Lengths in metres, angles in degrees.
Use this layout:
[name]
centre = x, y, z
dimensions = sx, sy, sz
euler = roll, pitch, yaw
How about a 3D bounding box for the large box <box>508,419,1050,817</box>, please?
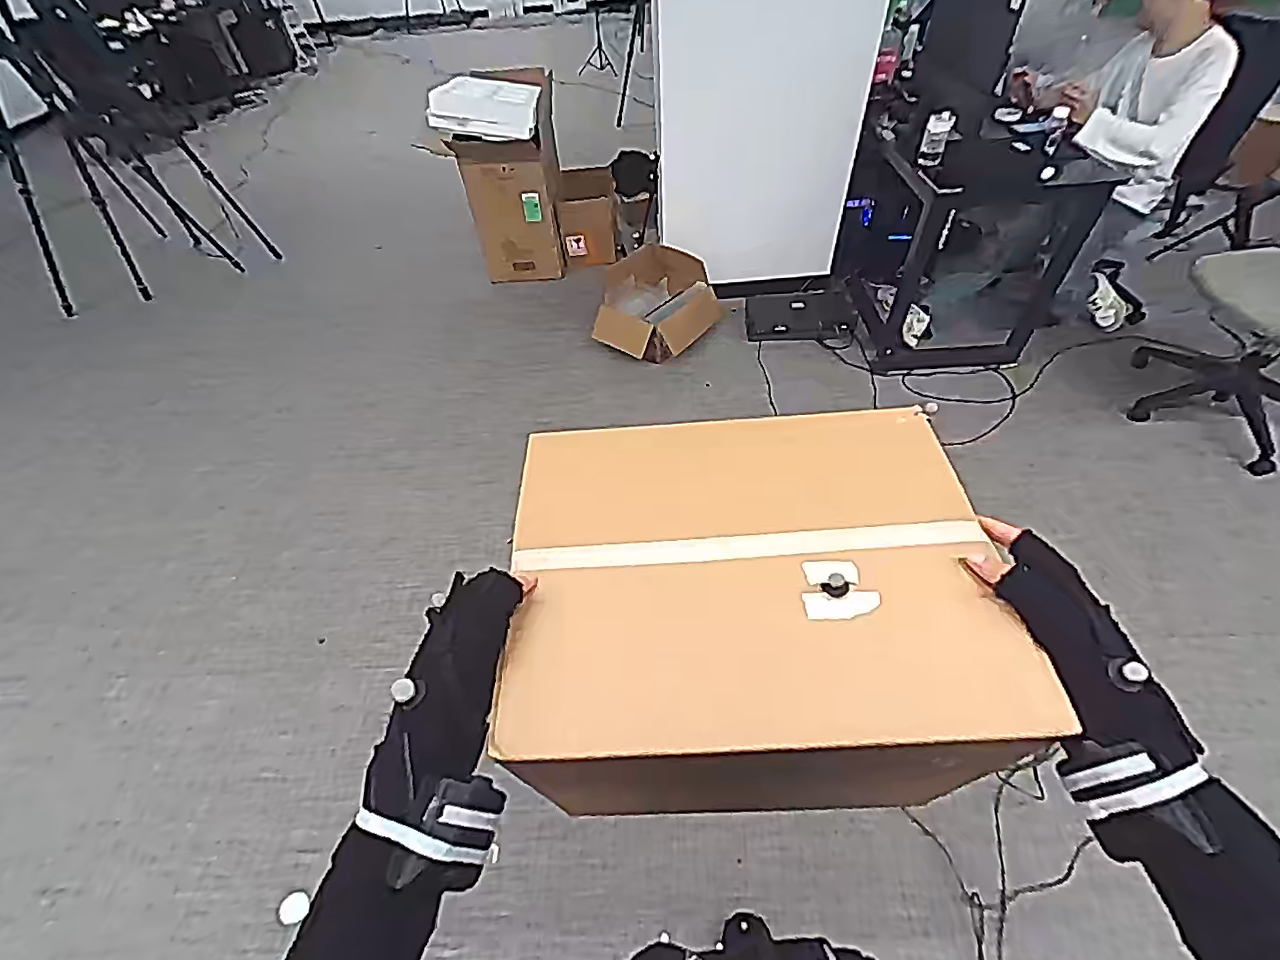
[large box]
centre = 0.102, 0.162, 0.599
dimensions = 0.408, 0.320, 0.320
euler = -4, 51, 2
